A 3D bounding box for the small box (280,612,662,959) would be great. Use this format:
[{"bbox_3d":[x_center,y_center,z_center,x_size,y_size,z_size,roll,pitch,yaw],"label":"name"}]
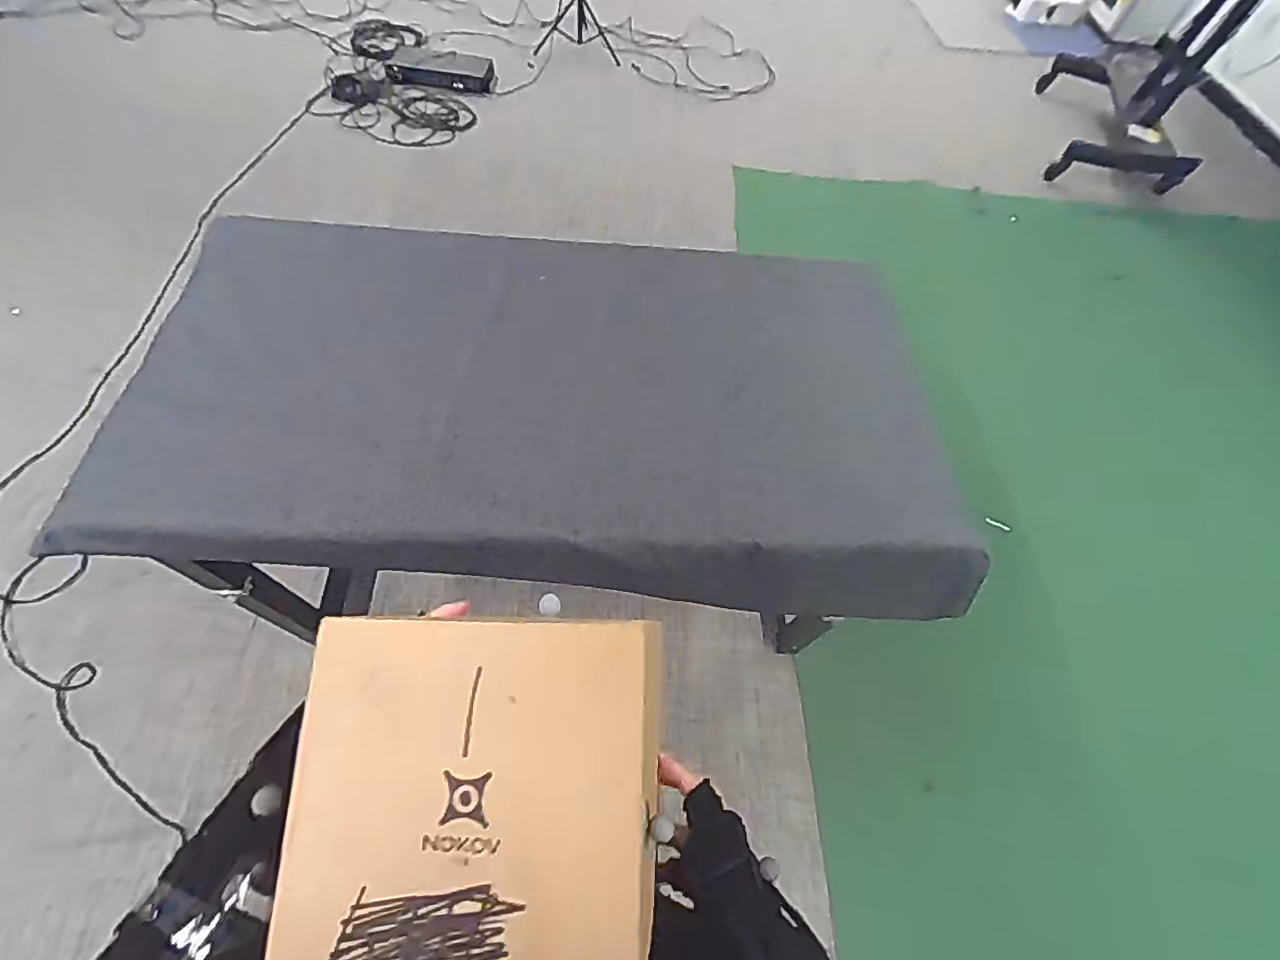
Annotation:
[{"bbox_3d":[-0.073,0.178,0.333,0.168,0.176,0.179,1,73,4],"label":"small box"}]
